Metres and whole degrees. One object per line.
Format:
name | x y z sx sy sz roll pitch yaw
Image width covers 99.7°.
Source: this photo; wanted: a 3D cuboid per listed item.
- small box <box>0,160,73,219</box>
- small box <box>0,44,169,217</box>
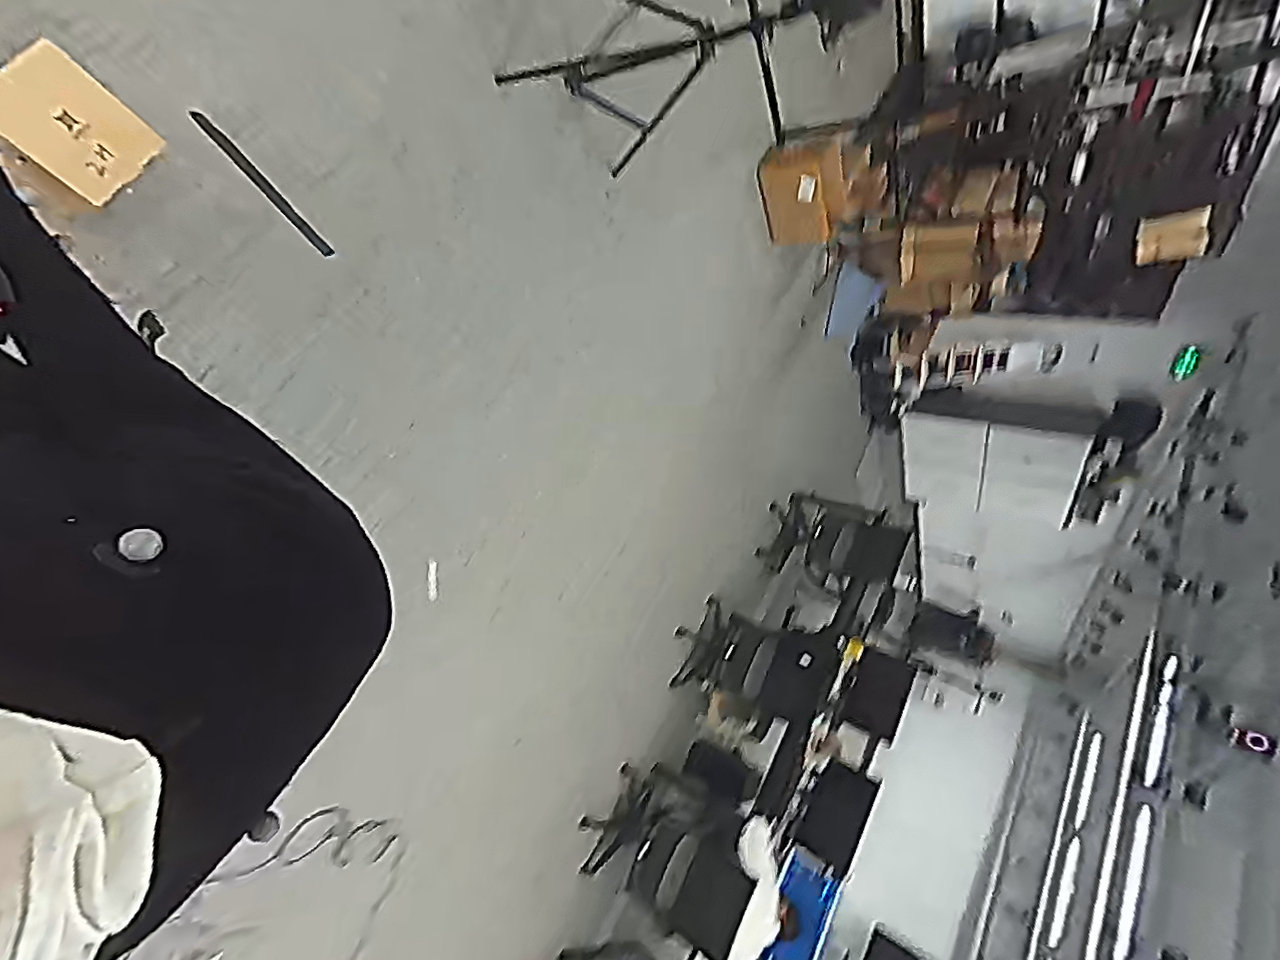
small box | -1.098 -0.613 1.000 0.179 0.176 0.168 -60 140 -18
small box | -0.964 -0.573 0.912 0.168 0.176 0.179 -61 141 -18
